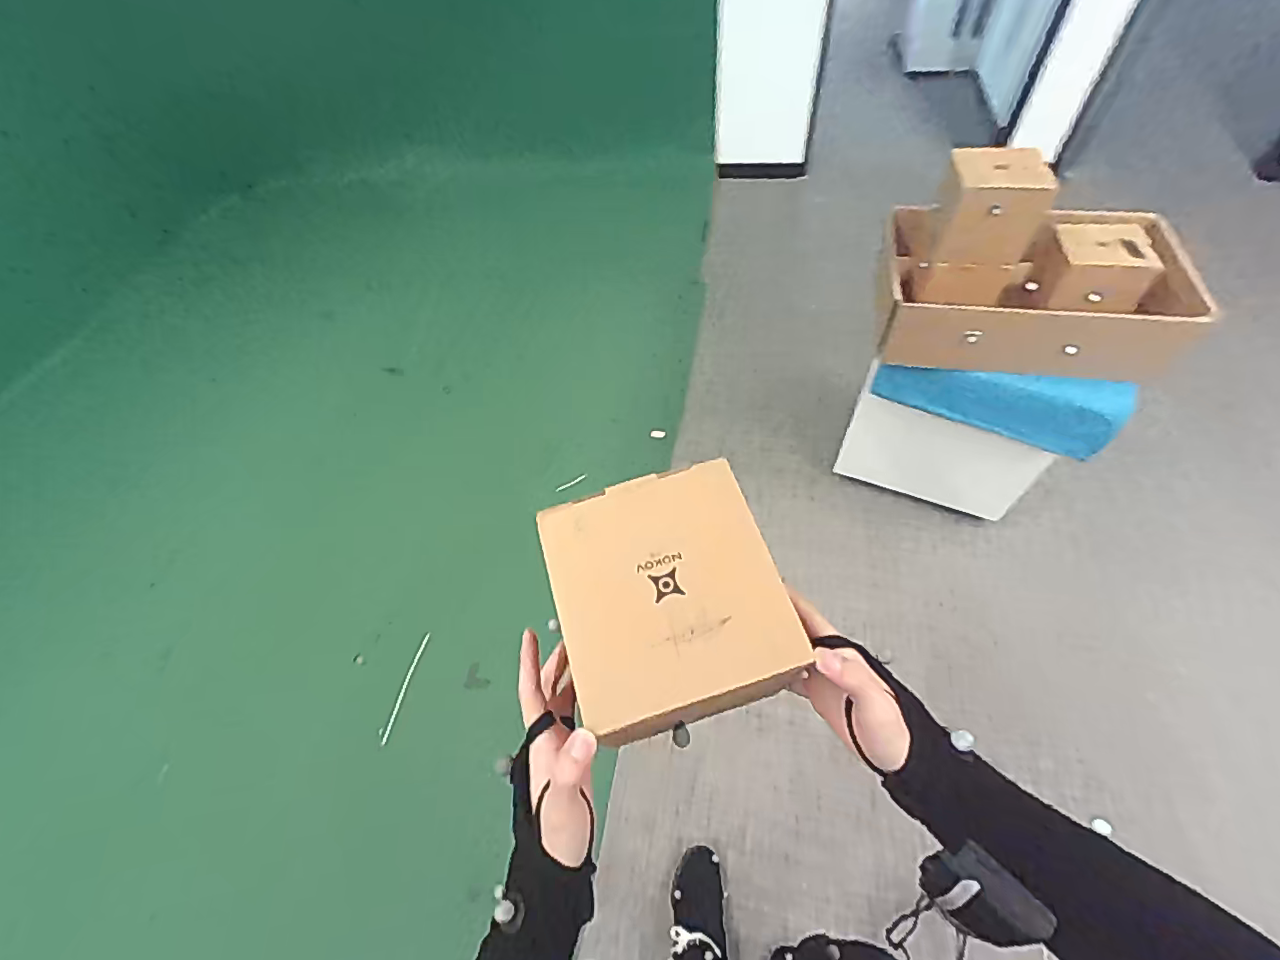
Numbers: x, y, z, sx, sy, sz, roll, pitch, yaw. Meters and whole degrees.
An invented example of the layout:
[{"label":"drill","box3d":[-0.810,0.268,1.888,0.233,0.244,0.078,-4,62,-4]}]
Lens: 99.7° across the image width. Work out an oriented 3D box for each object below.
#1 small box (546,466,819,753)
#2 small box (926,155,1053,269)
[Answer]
[{"label":"small box","box3d":[0.027,0.119,0.471,0.168,0.176,0.179,-16,60,-5]},{"label":"small box","box3d":[0.742,-0.580,1.176,0.179,0.176,0.168,6,56,9]}]
